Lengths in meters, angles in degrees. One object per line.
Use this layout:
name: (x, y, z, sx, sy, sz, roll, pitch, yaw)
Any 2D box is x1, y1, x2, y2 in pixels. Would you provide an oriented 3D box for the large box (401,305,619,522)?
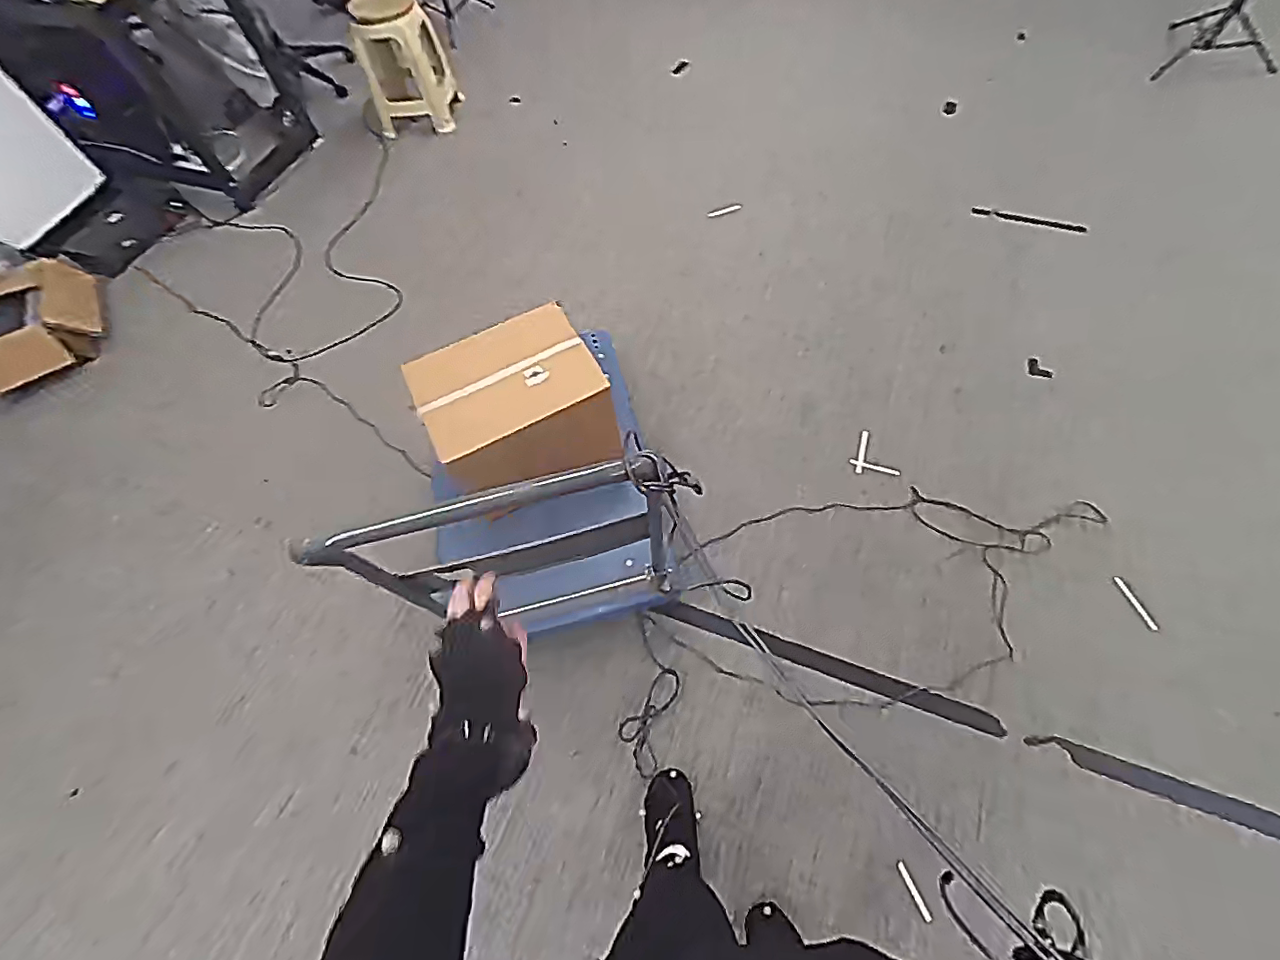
large box: (-0.307, -0.159, 1.361, 0.408, 0.320, 0.320, -27, 64, -10)
